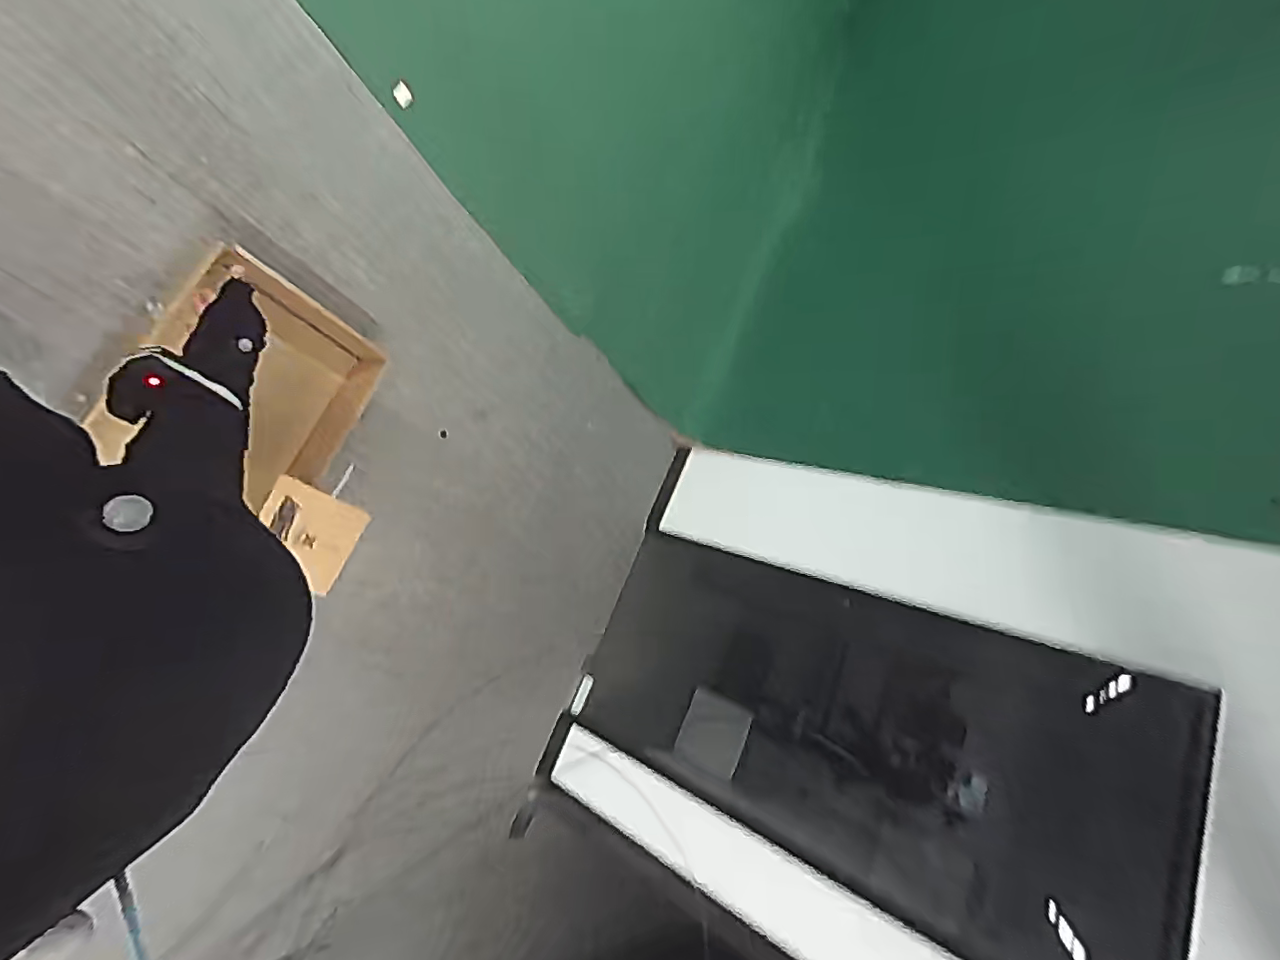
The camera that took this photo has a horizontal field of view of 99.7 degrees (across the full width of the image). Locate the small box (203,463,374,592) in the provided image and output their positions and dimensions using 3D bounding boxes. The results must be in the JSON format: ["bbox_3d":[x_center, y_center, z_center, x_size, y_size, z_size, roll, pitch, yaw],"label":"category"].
[{"bbox_3d":[-0.635,0.081,0.978,0.179,0.176,0.168,44,66,-51],"label":"small box"}]
